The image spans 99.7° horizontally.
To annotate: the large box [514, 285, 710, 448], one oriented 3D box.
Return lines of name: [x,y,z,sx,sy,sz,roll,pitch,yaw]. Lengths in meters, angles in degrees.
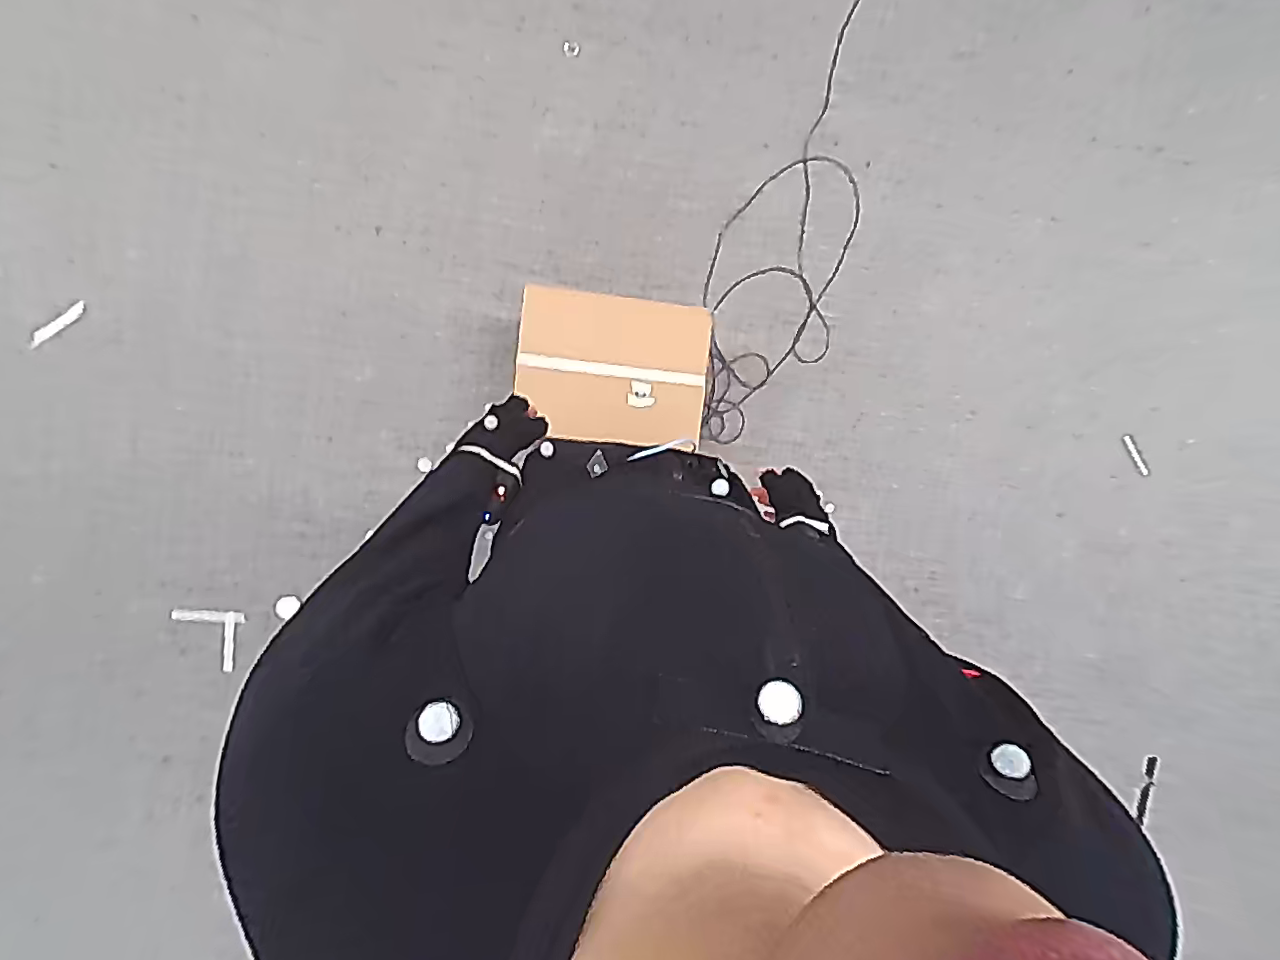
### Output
large box: [-0.075,-0.250,1.311,0.408,0.320,0.320,6,93,-6]
